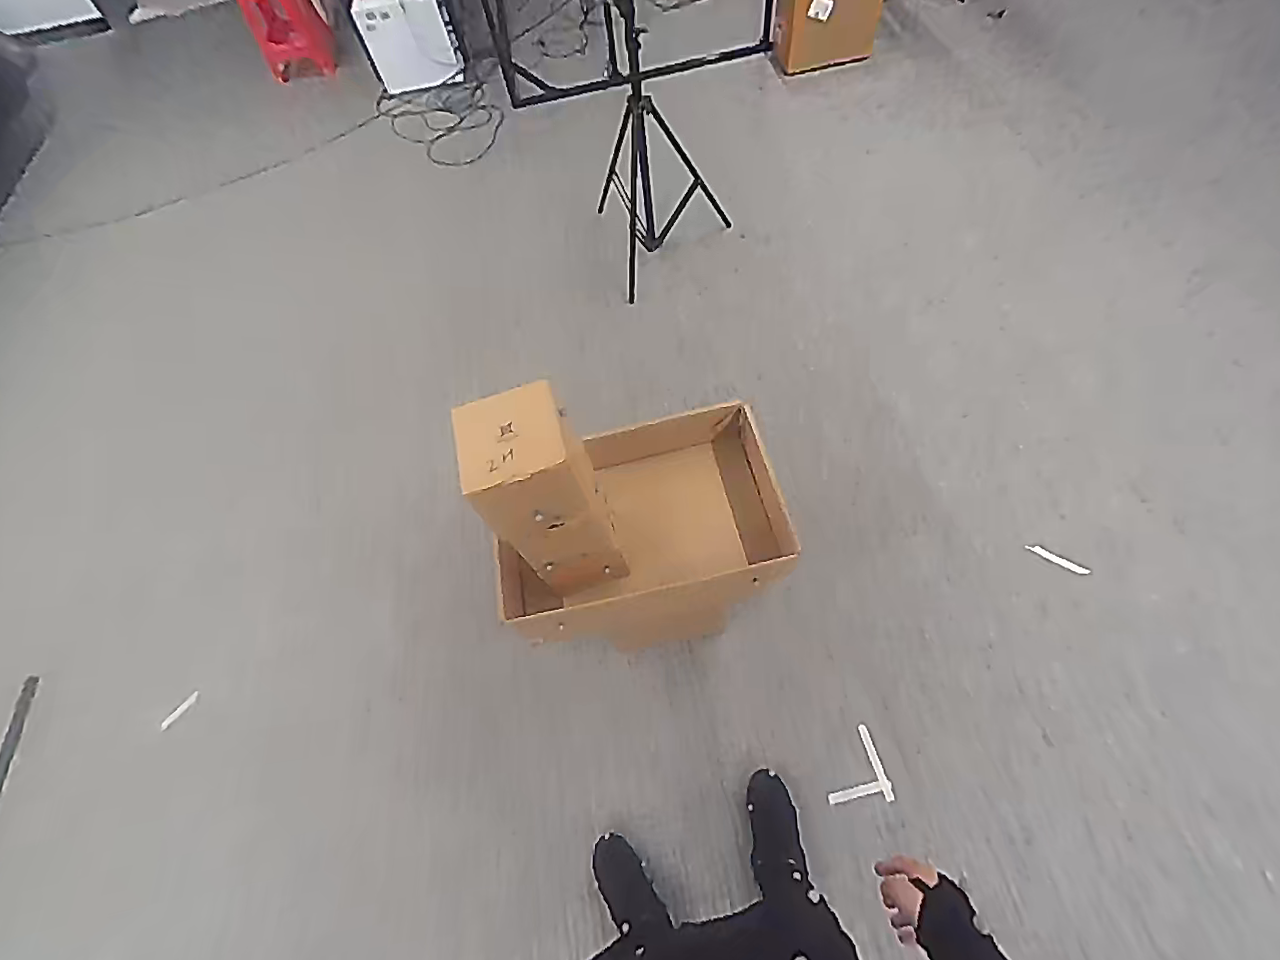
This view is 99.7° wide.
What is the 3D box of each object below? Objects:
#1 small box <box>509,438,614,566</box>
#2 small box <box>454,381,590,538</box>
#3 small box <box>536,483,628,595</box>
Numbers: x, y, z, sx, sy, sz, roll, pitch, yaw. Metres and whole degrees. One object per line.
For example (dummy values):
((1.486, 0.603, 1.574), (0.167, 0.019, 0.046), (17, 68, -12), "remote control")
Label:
((-0.157, 0.052, 1.047), (0.168, 0.176, 0.179), (-16, 59, -1), "small box")
((-0.193, -0.030, 0.907), (0.168, 0.176, 0.179), (-18, 59, -1), "small box")
((-0.131, 0.133, 1.187), (0.179, 0.176, 0.168), (-18, 60, 0), "small box")
